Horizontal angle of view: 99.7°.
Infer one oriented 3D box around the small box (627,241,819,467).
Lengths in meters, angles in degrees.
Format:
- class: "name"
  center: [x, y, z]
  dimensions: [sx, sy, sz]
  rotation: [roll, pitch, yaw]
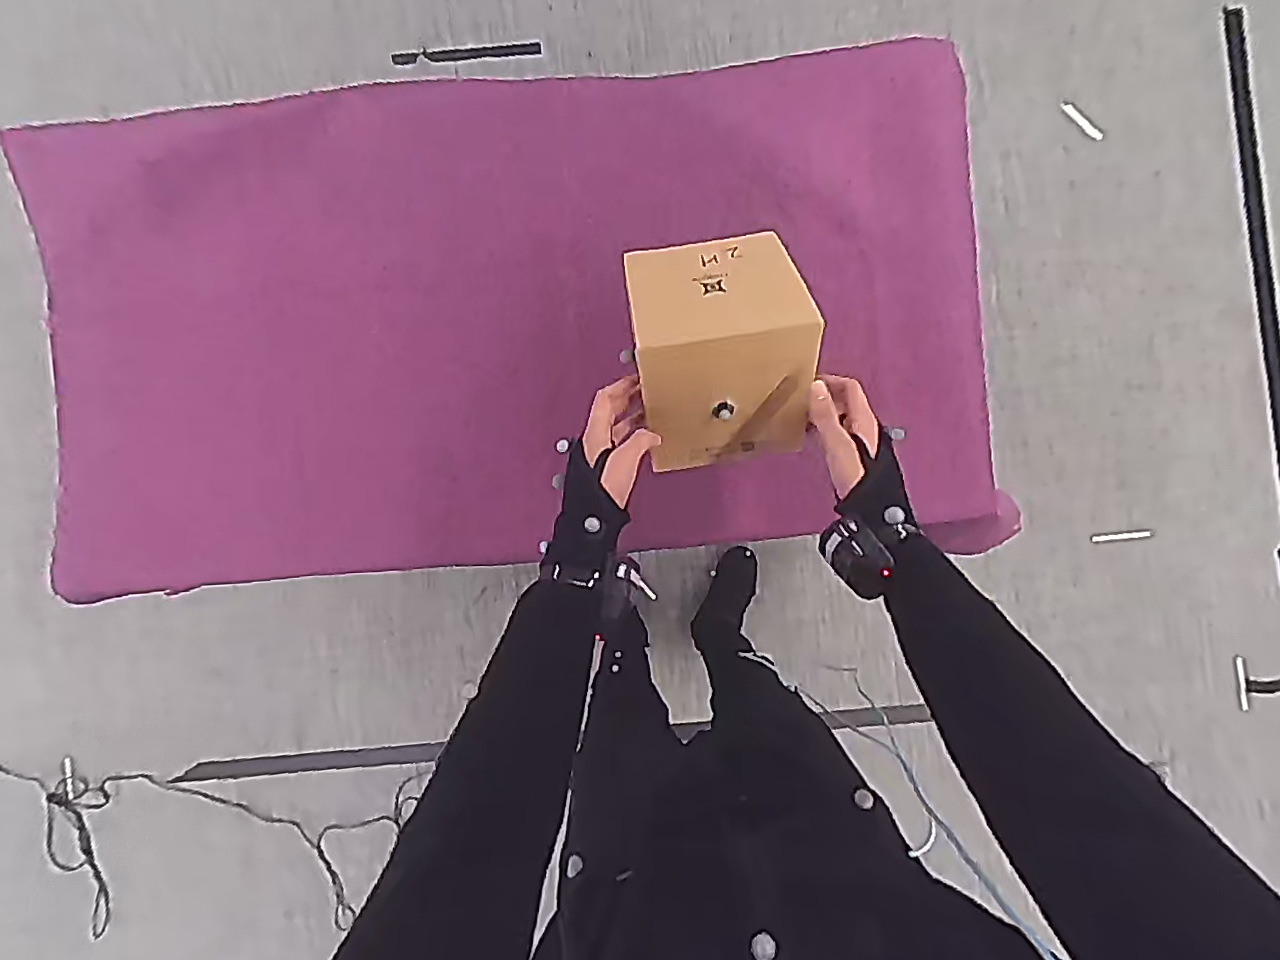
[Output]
- class: "small box"
  center: [0.081, -0.128, 0.588]
  dimensions: [0.168, 0.176, 0.179]
  rotation: [-7, 50, 1]
